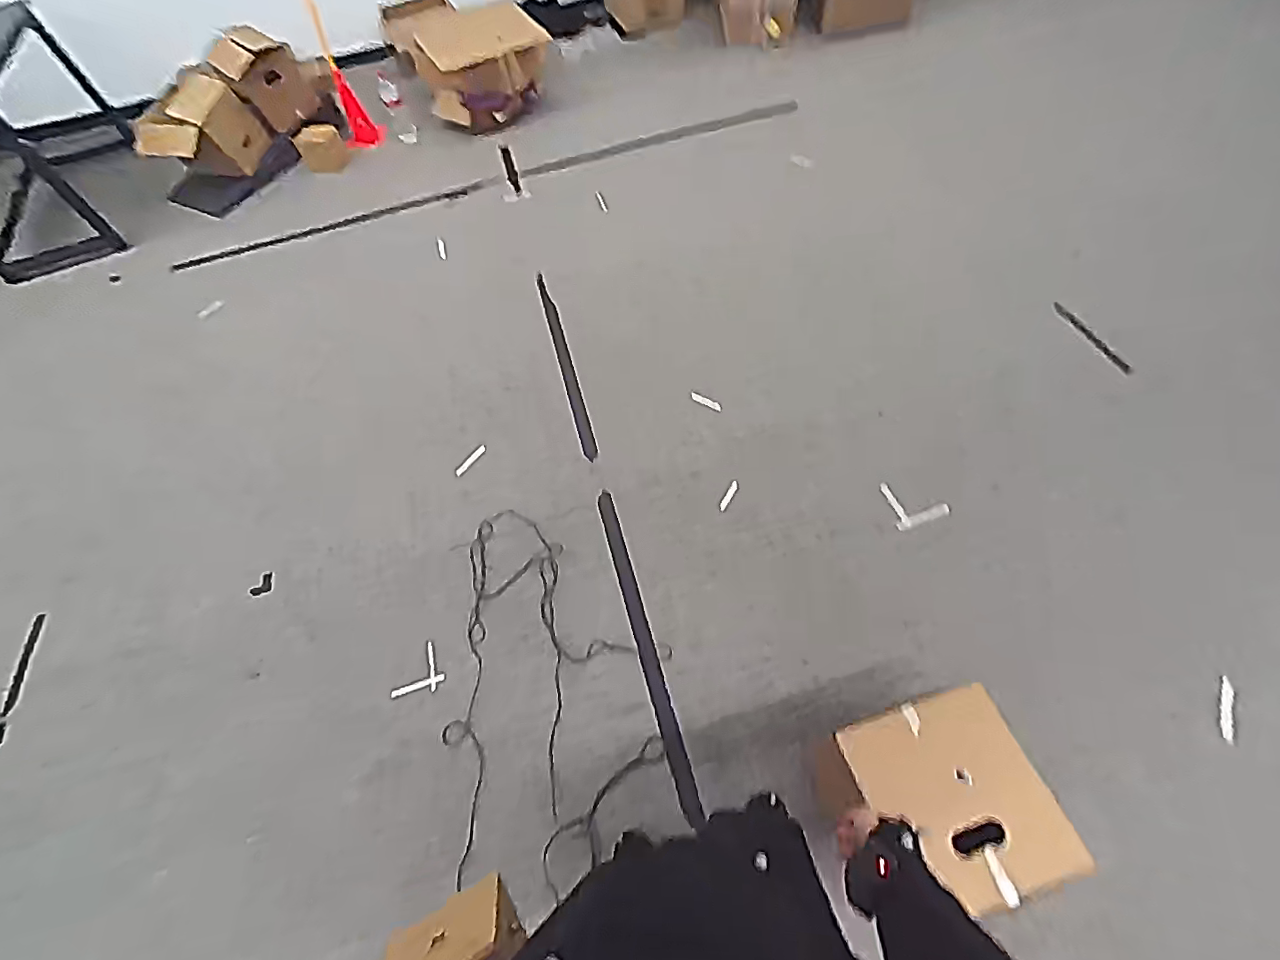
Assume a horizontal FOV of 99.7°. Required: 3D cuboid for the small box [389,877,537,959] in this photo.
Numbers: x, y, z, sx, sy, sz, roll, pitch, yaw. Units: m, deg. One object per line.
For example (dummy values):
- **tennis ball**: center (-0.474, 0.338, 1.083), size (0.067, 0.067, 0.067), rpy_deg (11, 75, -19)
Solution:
- **small box**: center (-0.224, 0.687, 0.704), size (0.168, 0.179, 0.176), rpy_deg (-25, 86, -17)
